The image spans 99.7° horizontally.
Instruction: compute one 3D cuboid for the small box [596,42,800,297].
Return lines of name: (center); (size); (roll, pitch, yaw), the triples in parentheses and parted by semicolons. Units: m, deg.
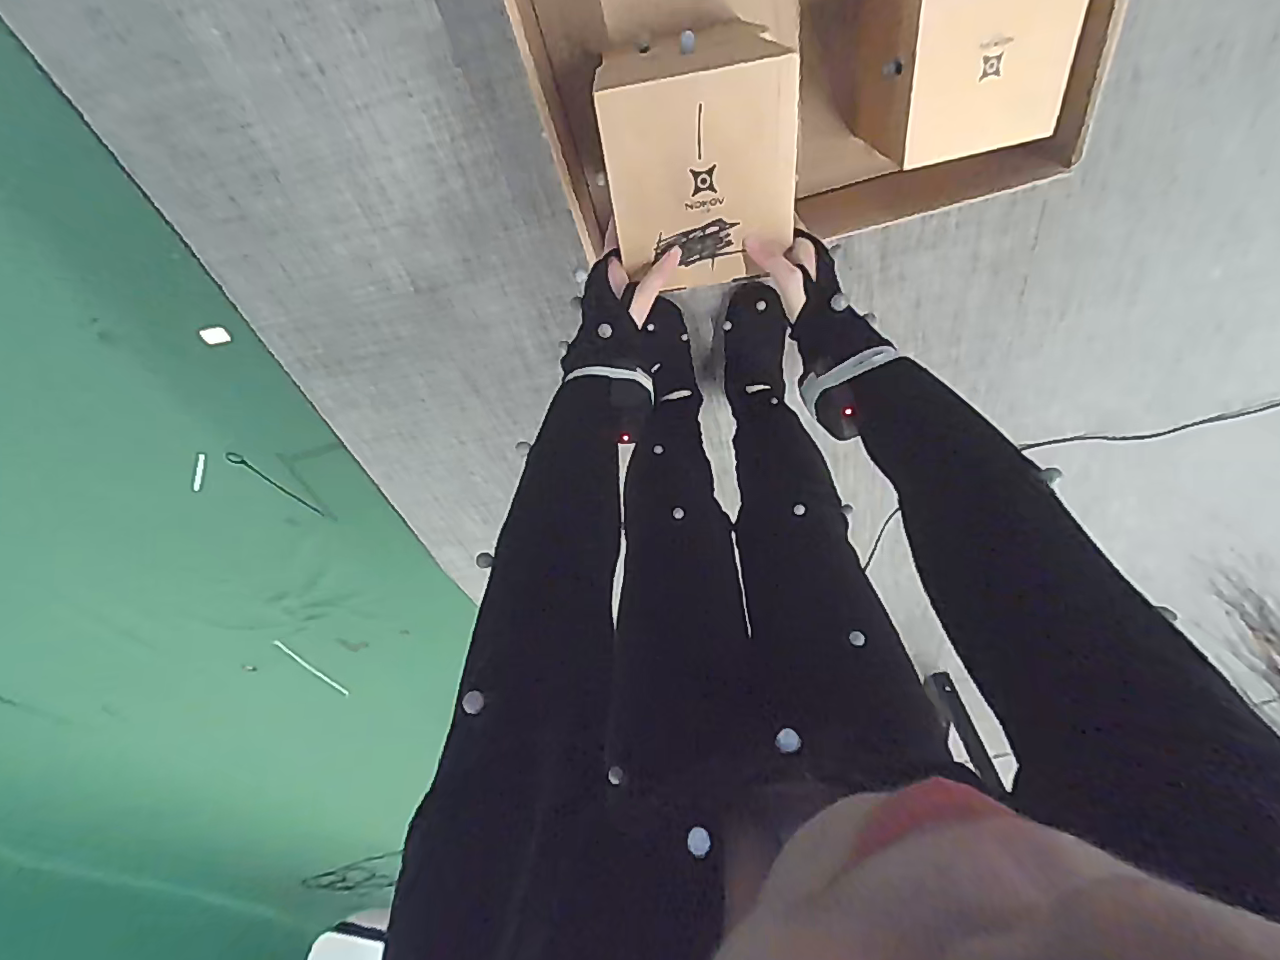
small box: (0.054, -0.311, 0.543); (0.168, 0.176, 0.179); (-8, 132, 4)
